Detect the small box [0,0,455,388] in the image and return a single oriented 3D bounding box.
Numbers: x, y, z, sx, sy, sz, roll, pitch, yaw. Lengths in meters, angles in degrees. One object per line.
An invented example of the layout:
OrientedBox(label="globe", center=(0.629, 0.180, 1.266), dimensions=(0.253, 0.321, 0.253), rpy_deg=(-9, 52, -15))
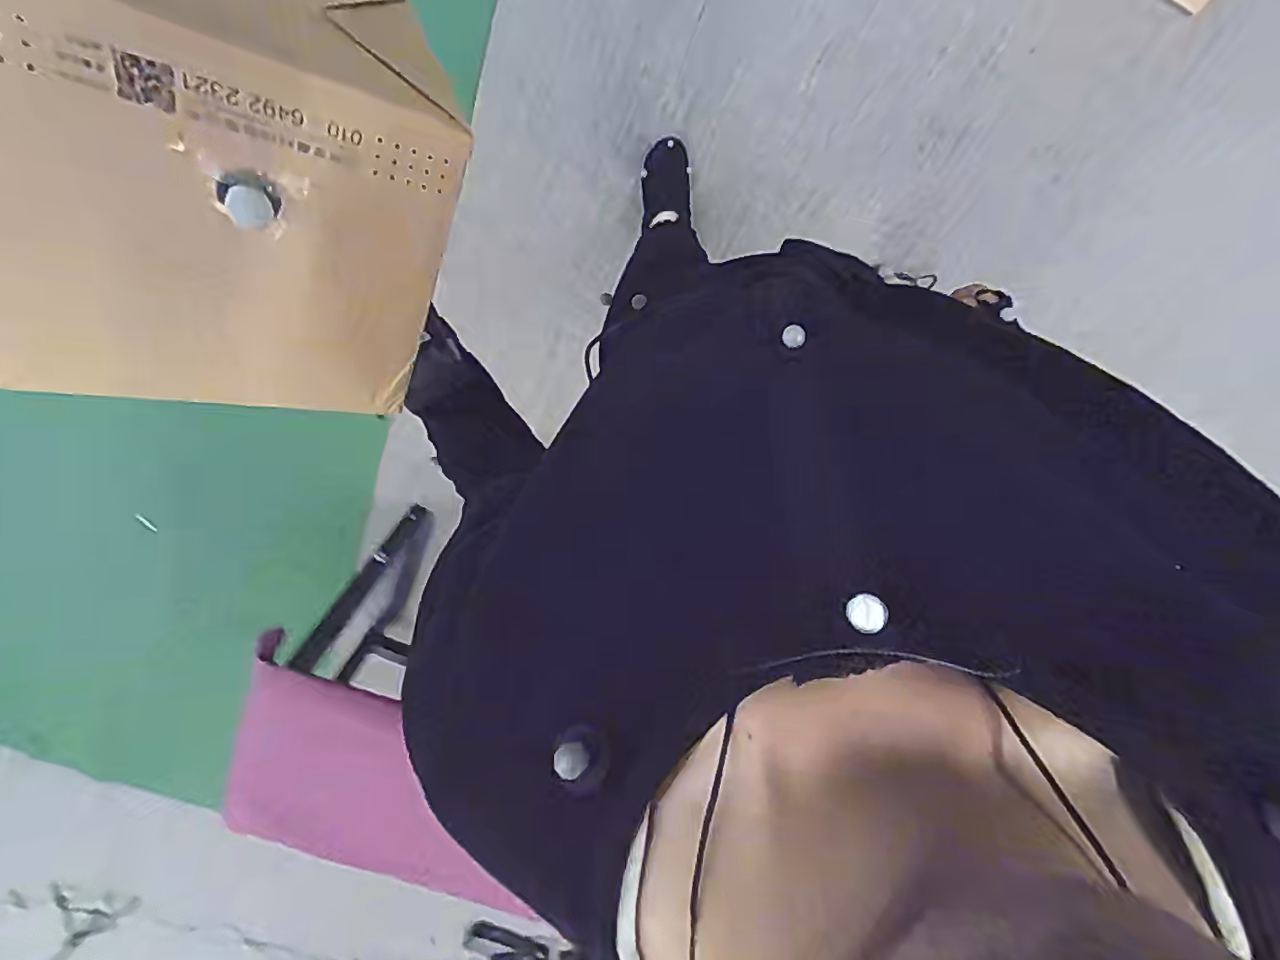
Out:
OrientedBox(label="small box", center=(-0.202, -0.171, 0.256), dimensions=(0.168, 0.179, 0.176), rpy_deg=(0, 141, -37))

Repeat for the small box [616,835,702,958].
OrientedBox(label="small box", center=(0.040, 0.927, 1.210), dimensions=(0.179, 0.176, 0.168), rpy_deg=(3, 119, 2))
